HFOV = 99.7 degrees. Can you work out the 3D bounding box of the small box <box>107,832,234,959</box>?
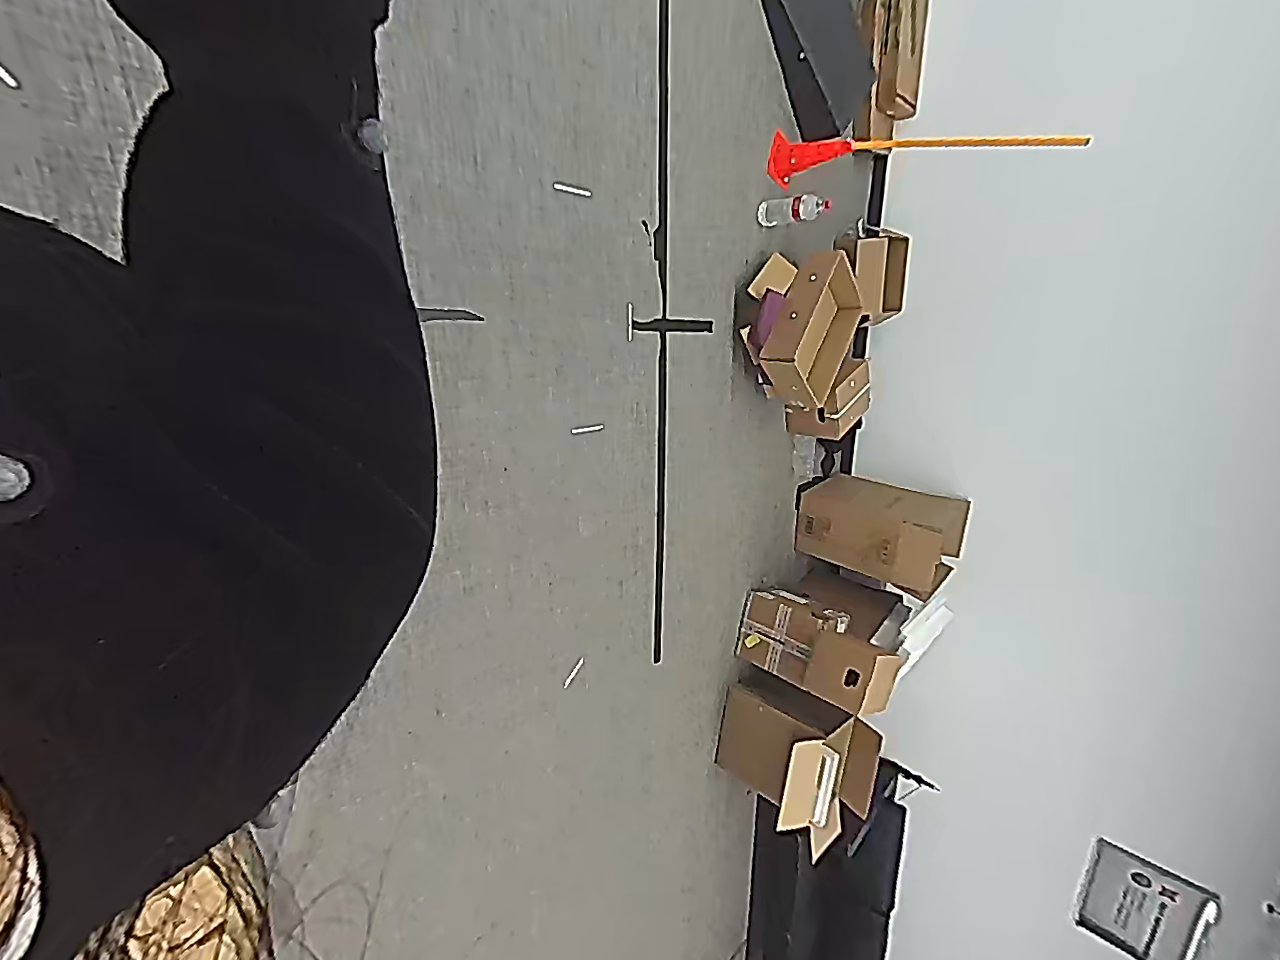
[{"bbox_3d":[-1.082,0.960,1.244,0.168,0.176,0.179,-27,120,-41],"label":"small box"}]
